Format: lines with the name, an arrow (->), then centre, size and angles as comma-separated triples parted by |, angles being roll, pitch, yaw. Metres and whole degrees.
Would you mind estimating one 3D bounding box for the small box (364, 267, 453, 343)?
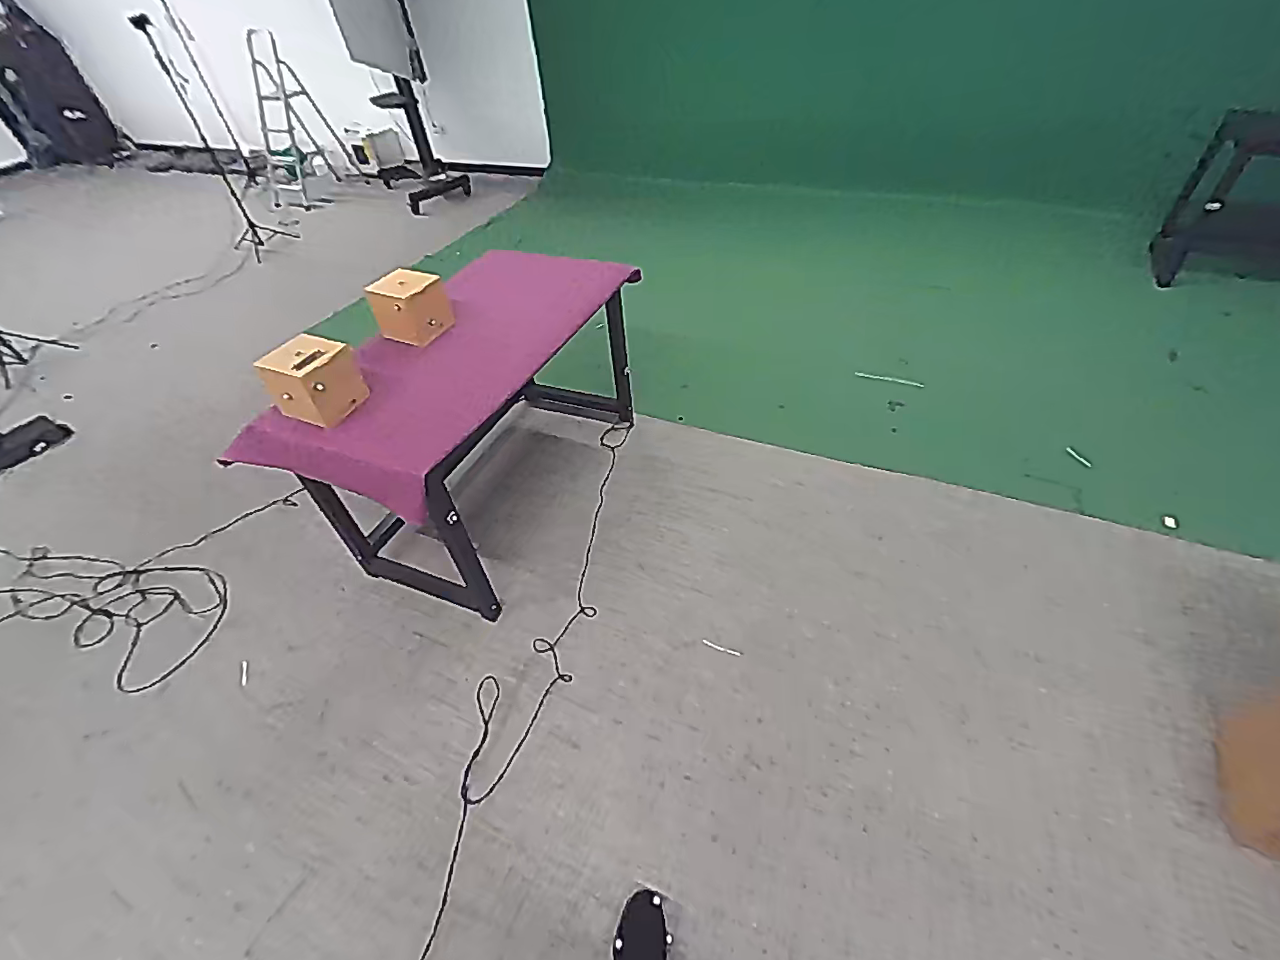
small box -> -0.741, -0.563, 1.746 | 0.179, 0.176, 0.168 | 18, 49, 18
